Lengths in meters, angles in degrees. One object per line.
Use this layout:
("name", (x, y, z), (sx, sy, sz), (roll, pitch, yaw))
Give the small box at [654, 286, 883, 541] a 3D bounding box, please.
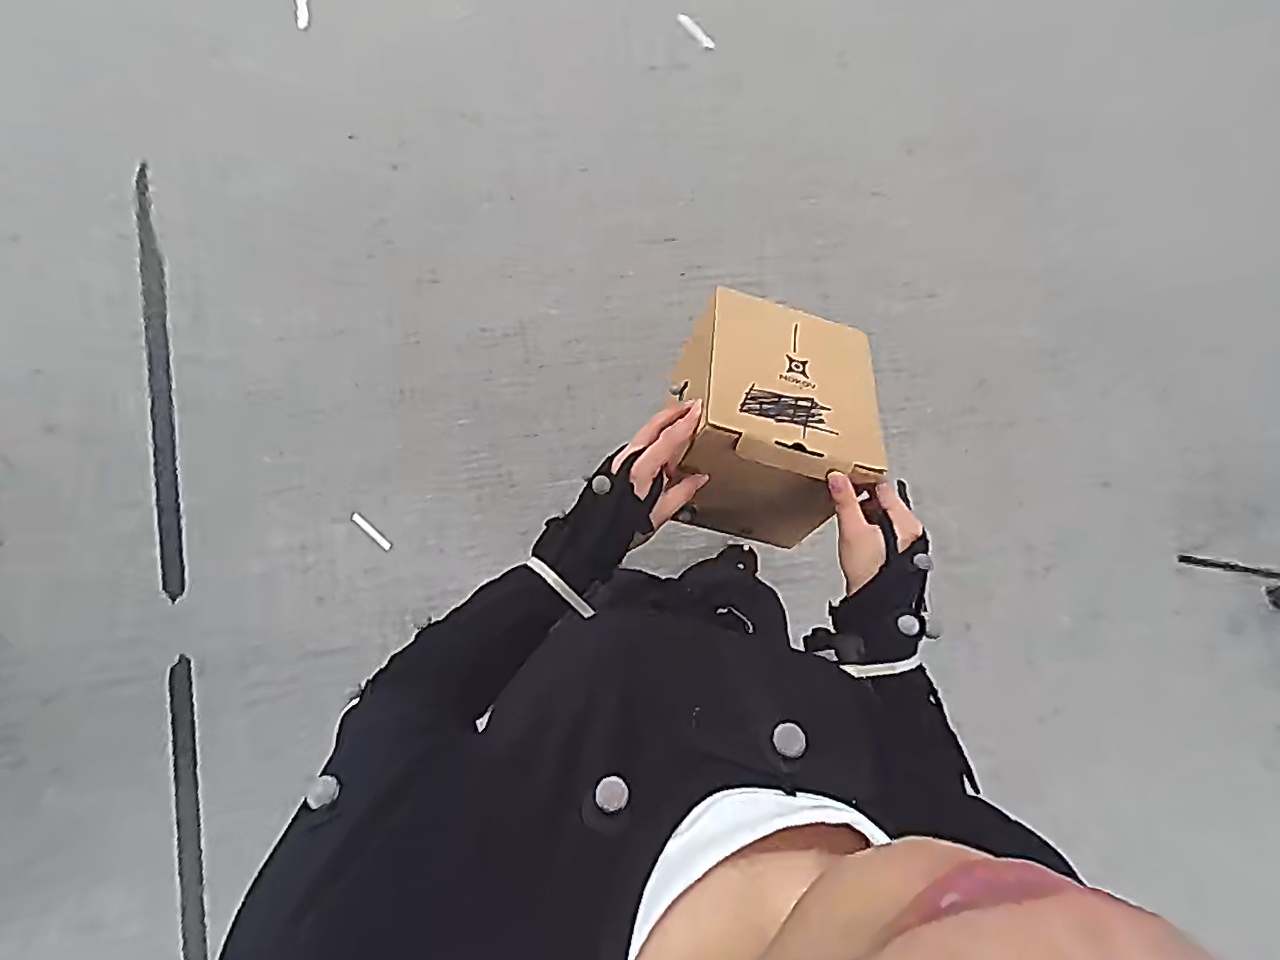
("small box", (0.118, -0.056, 0.553), (0.168, 0.176, 0.179), (14, 57, -9))
